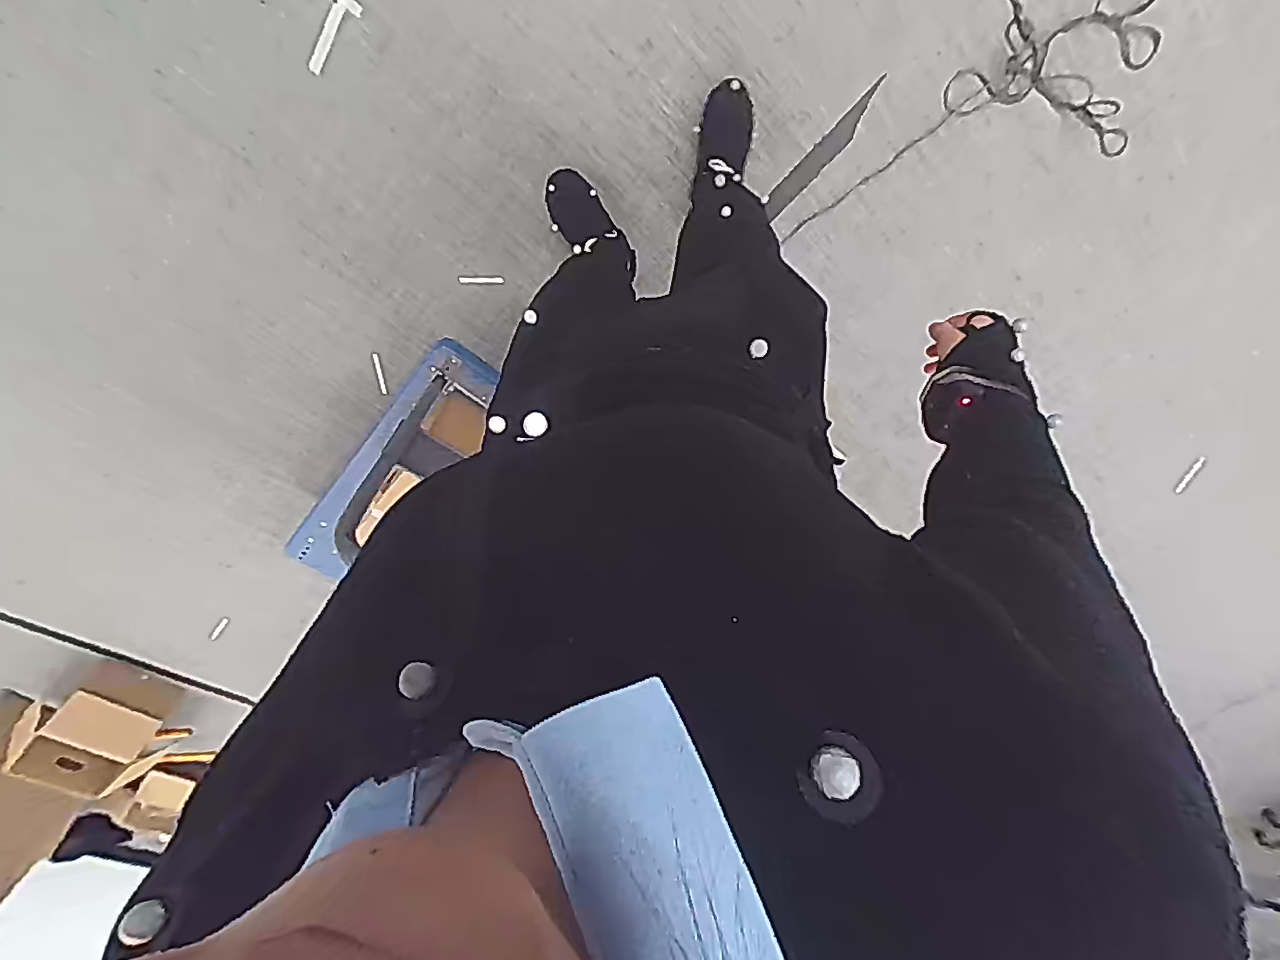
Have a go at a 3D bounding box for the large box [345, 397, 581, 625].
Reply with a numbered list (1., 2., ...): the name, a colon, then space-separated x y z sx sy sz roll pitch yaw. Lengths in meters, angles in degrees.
1. large box: -0.401 0.077 1.321 0.408 0.320 0.320 37 116 -24
